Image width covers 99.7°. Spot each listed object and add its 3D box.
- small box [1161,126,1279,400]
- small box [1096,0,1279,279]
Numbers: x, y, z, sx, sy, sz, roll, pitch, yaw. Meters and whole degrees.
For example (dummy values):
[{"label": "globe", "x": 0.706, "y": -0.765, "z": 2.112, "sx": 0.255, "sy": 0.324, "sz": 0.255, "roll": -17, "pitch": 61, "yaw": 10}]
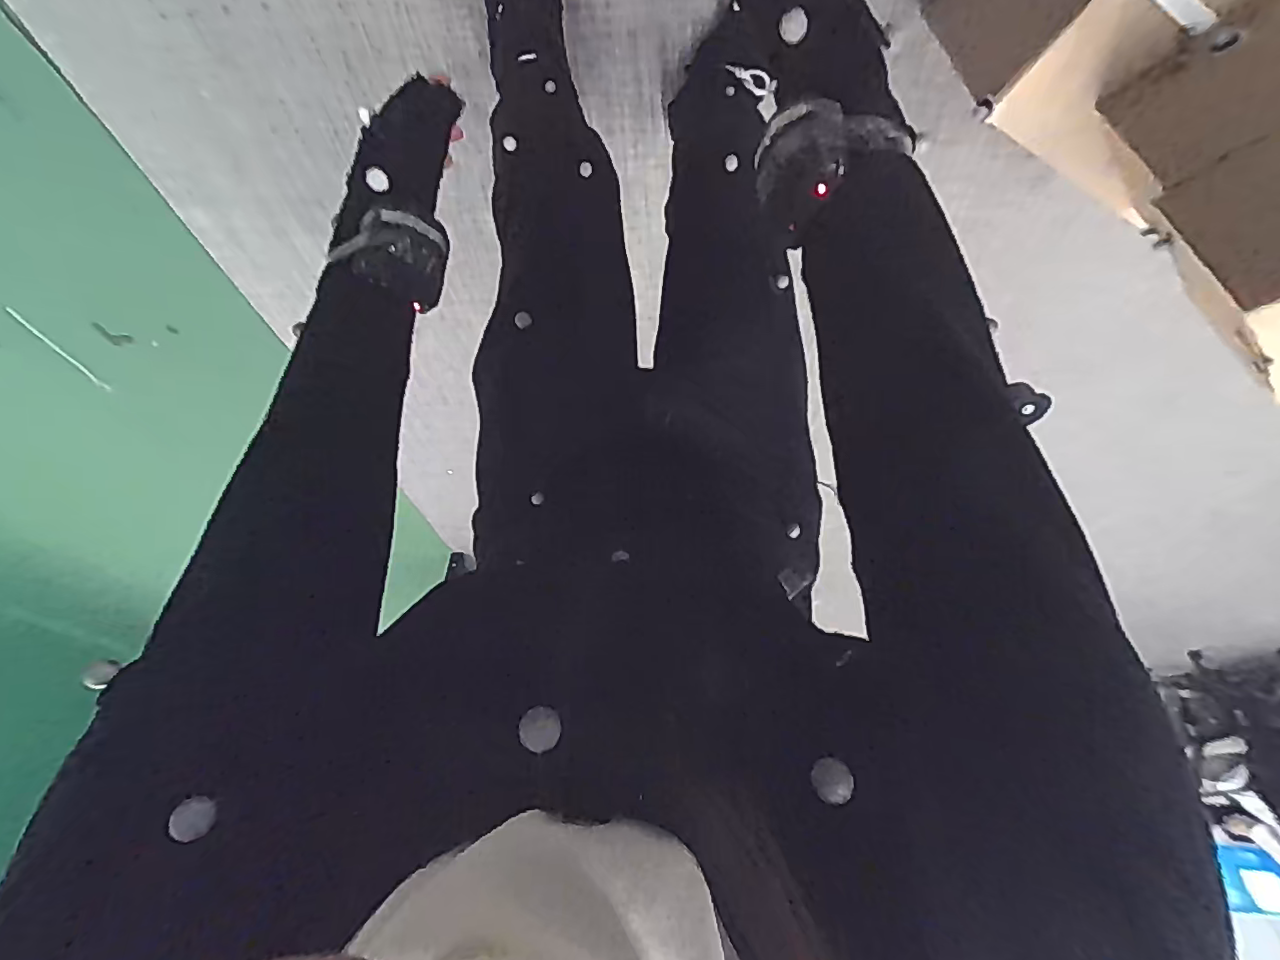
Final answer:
[{"label": "small box", "x": 0.603, "y": -0.206, "z": 0.465, "sx": 0.168, "sy": 0.176, "sz": 0.179, "roll": 25, "pitch": 142, "yaw": -29}, {"label": "small box", "x": 0.617, "y": -0.345, "z": 0.553, "sx": 0.179, "sy": 0.176, "sz": 0.168, "roll": 28, "pitch": 140, "yaw": -30}]
